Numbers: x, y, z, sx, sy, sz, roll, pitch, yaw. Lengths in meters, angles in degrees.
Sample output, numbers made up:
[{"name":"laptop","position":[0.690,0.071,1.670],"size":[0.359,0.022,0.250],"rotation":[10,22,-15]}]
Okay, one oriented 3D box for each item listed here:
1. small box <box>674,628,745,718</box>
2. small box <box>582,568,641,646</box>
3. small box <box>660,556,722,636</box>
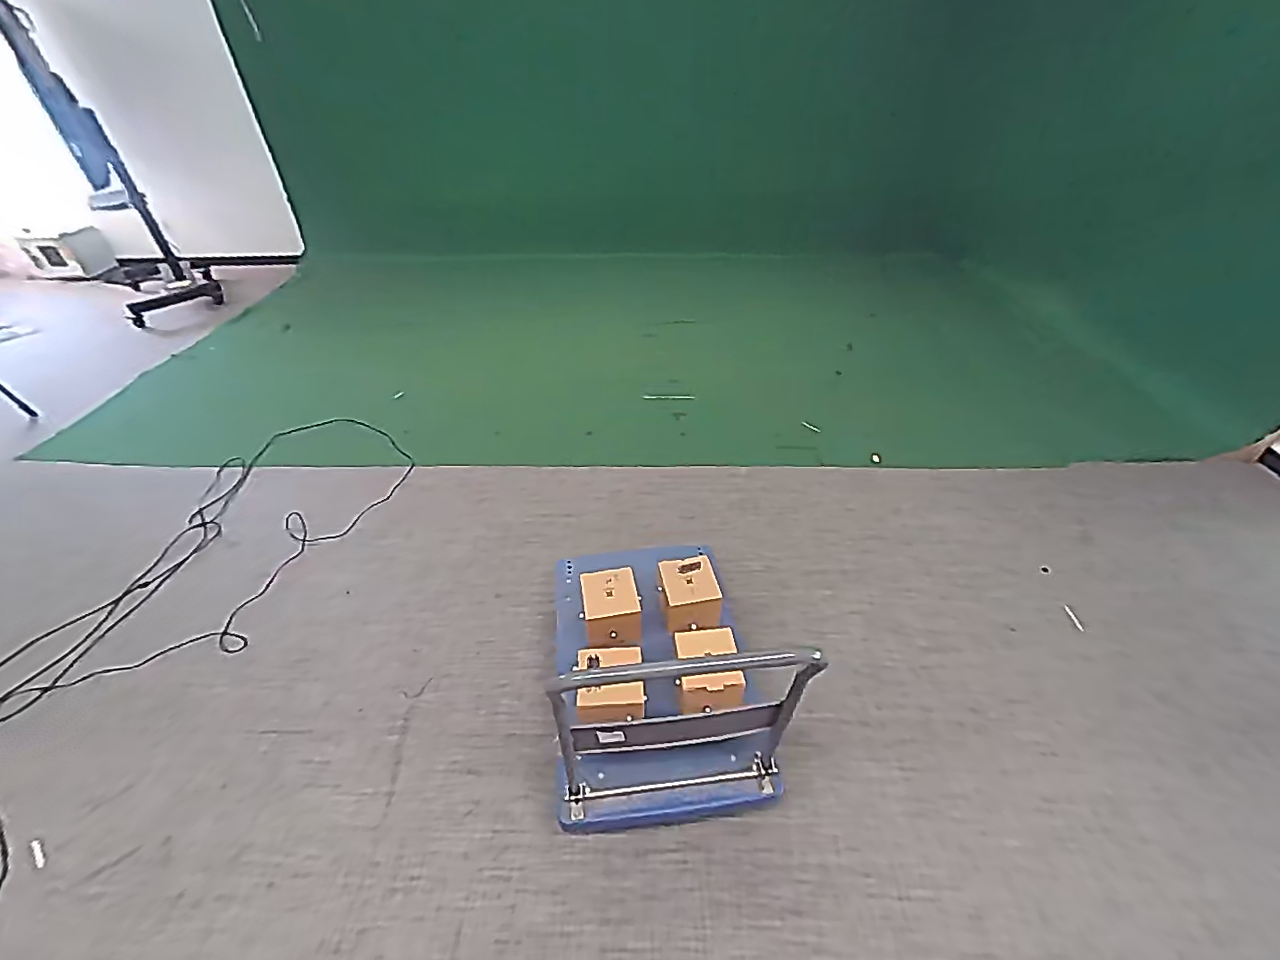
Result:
[{"name":"small box","position":[0.191,0.550,1.543],"size":[0.168,0.176,0.179],"rotation":[-5,41,-4]},{"name":"small box","position":[-0.090,0.409,1.714],"size":[0.168,0.176,0.179],"rotation":[-7,41,-8]},{"name":"small box","position":[0.157,0.375,1.747],"size":[0.168,0.176,0.179],"rotation":[-8,42,-7]}]
